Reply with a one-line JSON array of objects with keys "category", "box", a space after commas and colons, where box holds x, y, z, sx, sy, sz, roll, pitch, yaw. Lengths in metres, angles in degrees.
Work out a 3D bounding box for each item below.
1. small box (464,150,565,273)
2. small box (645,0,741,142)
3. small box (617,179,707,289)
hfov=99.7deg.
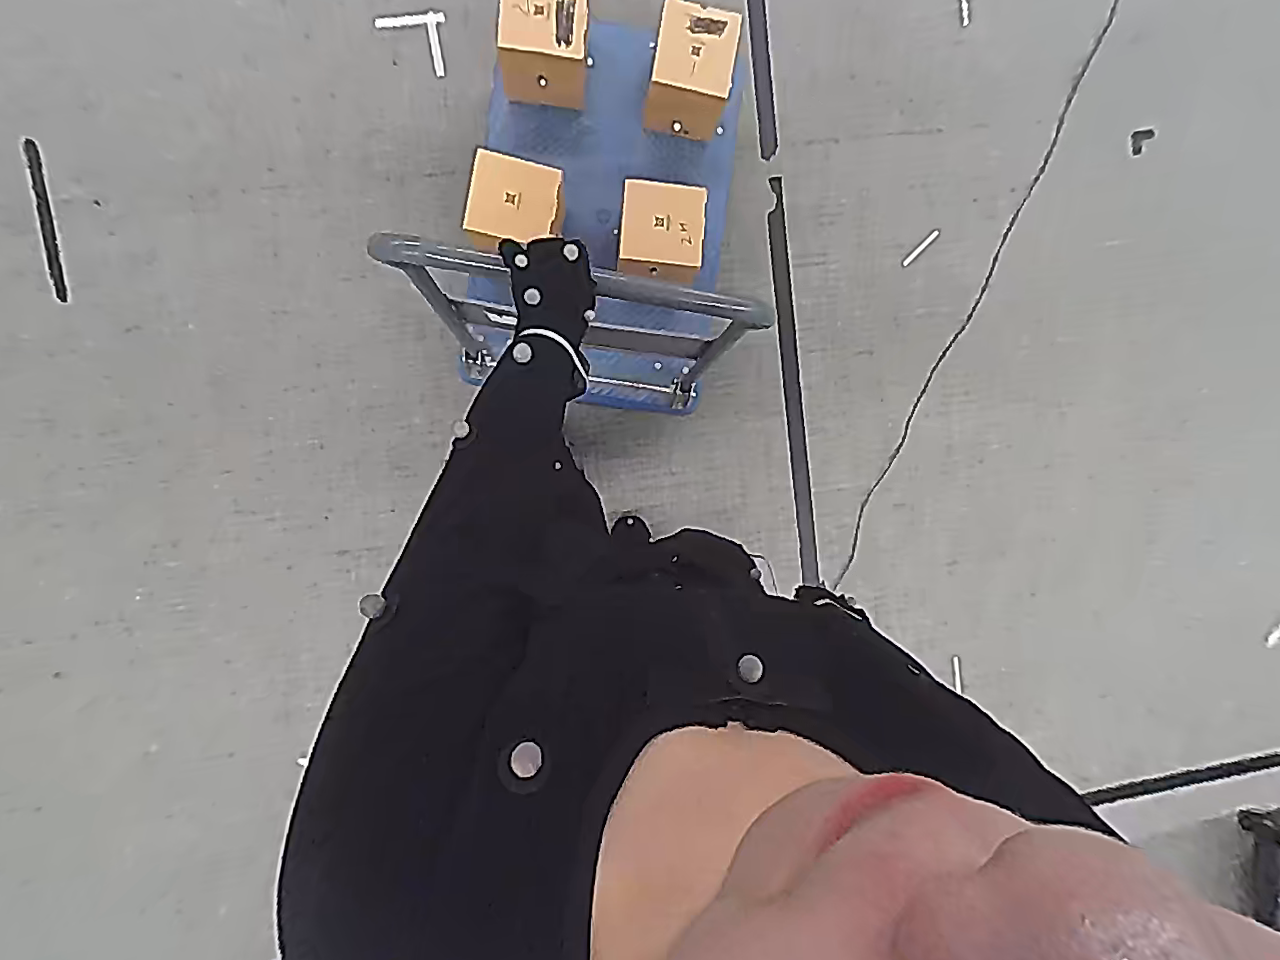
[{"category": "small box", "box": [-0.264, -0.571, 1.173, 0.179, 0.176, 0.168, 11, 91, -8]}, {"category": "small box", "box": [0.109, -0.896, 1.195, 0.168, 0.176, 0.179, 9, 92, -6]}, {"category": "small box", "box": [0.042, -0.536, 1.203, 0.179, 0.176, 0.168, 4, 92, -5]}]
